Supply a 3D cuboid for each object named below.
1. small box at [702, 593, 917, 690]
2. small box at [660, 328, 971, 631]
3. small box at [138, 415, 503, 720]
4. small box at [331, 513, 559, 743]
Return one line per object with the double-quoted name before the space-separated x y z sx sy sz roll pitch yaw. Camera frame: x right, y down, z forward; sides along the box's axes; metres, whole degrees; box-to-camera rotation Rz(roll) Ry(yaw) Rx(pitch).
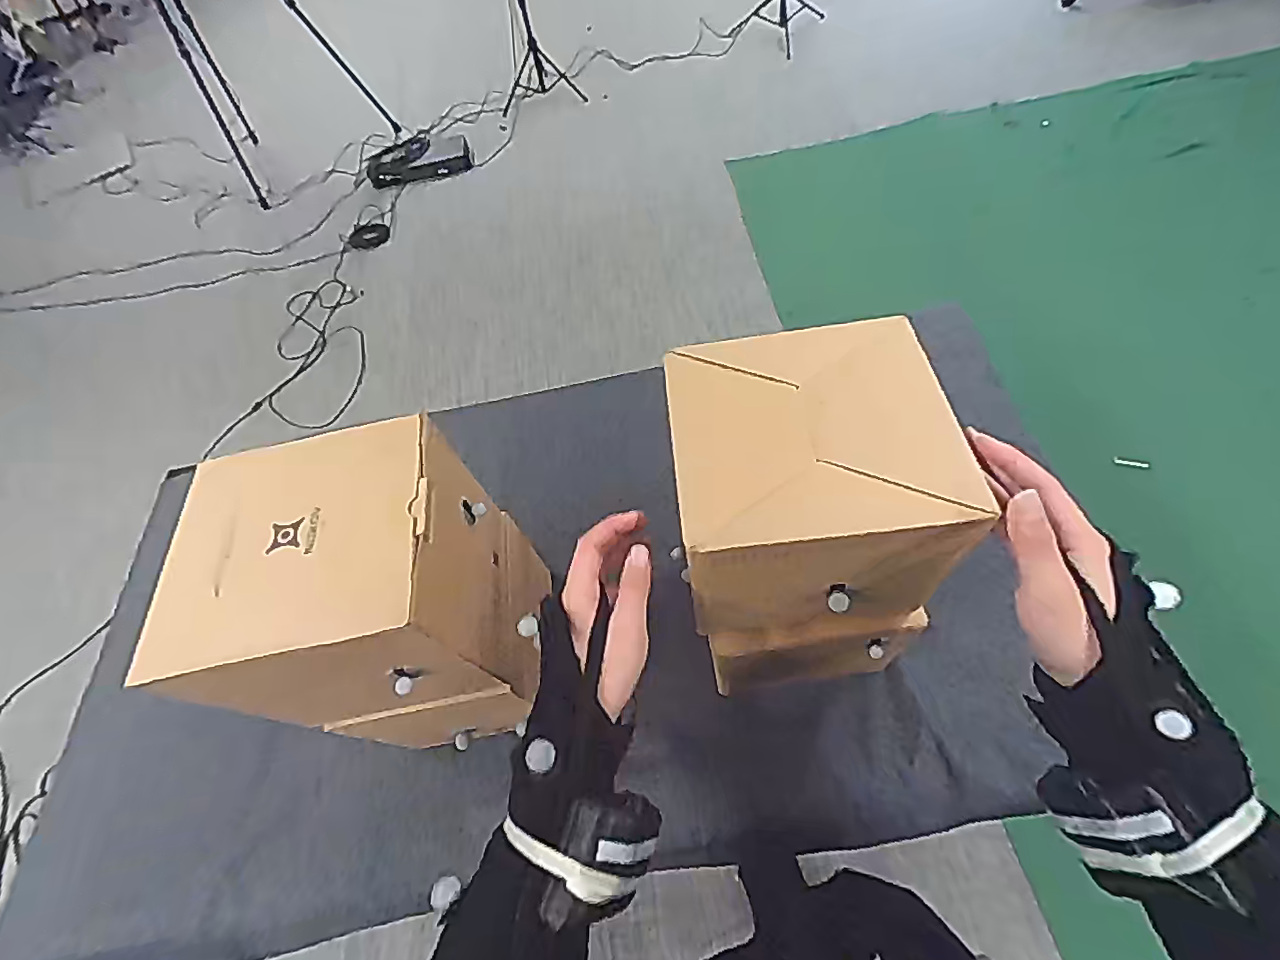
"small box" 0.144 0.105 0.552 0.179 0.176 0.168 -10 57 2
"small box" 0.116 0.005 0.419 0.179 0.176 0.168 -7 57 4
"small box" -0.216 0.078 0.429 0.179 0.176 0.168 -13 56 2
"small box" -0.188 0.161 0.567 0.168 0.176 0.179 -12 58 2
